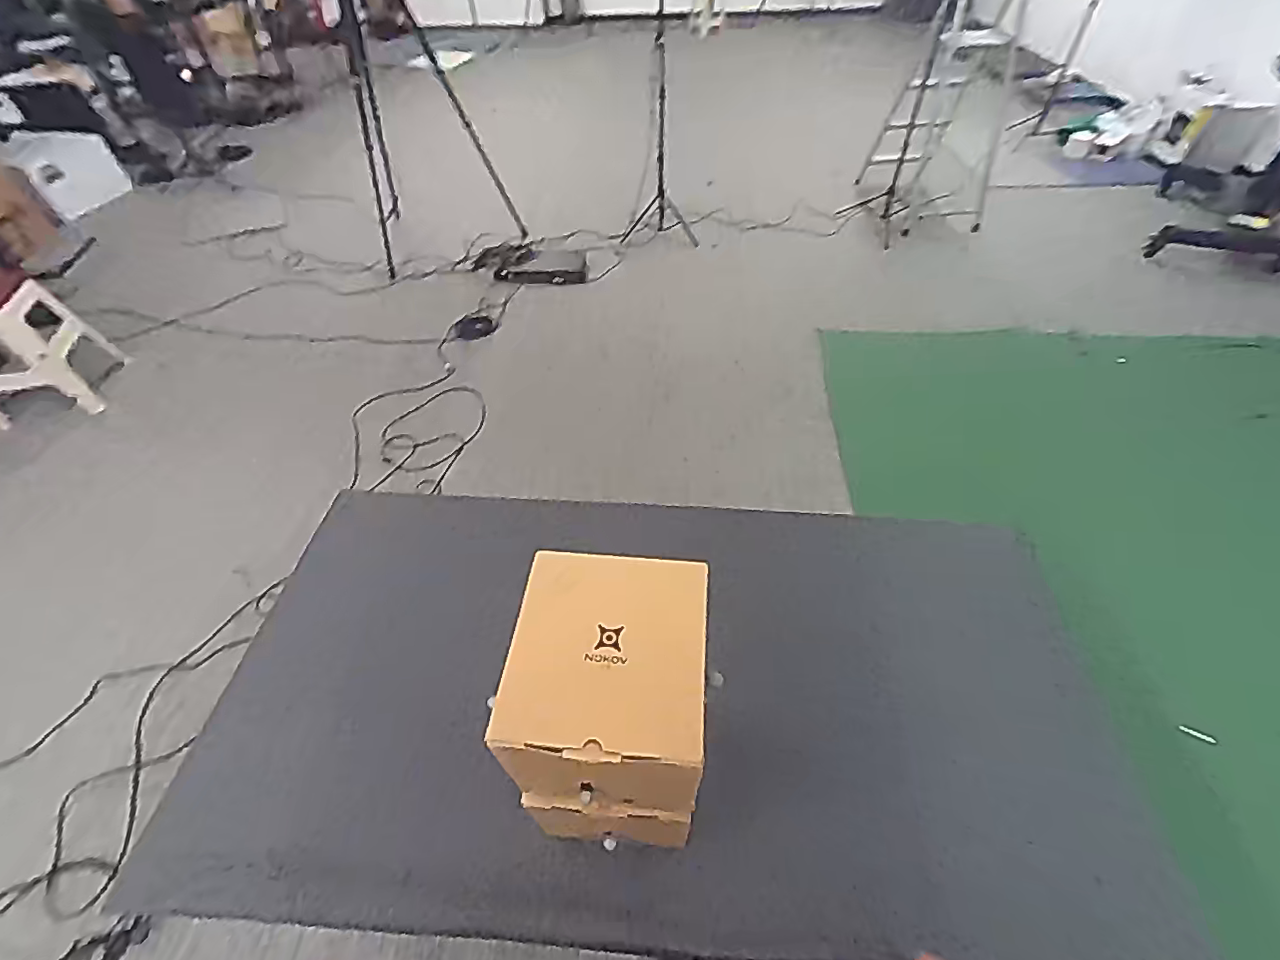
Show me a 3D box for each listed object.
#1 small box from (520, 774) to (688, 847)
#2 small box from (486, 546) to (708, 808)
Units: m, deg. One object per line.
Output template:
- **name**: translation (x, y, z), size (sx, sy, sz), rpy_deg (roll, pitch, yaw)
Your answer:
- **small box**: translation (-0.026, 0.301, 0.627), size (0.168, 0.176, 0.179), rpy_deg (3, 49, 5)
- **small box**: translation (-0.026, 0.186, 0.512), size (0.168, 0.176, 0.179), rpy_deg (4, 49, 5)
